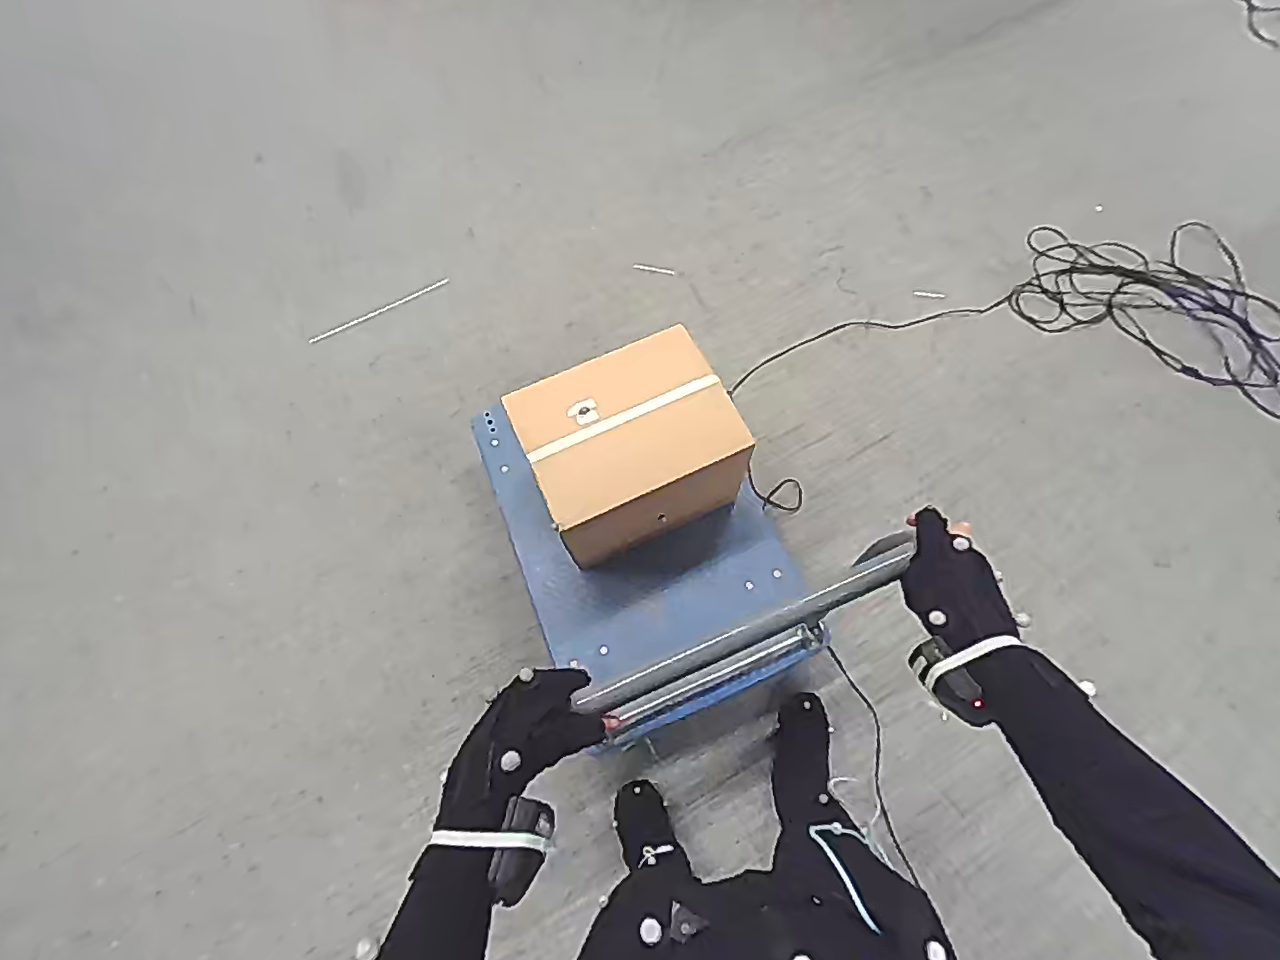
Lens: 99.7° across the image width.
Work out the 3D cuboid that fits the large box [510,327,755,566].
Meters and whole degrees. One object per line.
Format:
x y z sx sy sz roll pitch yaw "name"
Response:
-0.013 -0.059 1.192 0.408 0.320 0.320 -25 68 -7 "large box"
